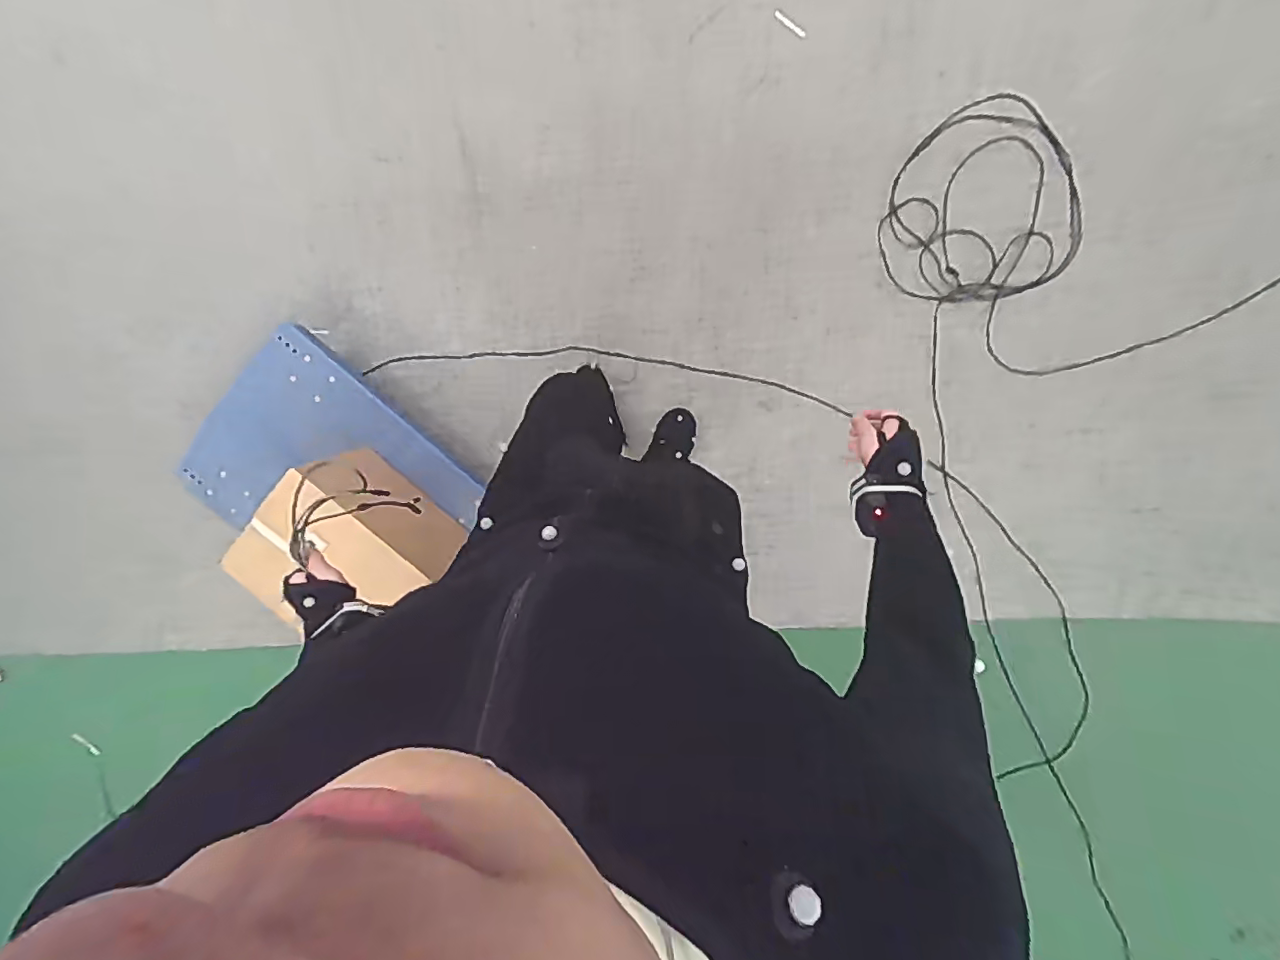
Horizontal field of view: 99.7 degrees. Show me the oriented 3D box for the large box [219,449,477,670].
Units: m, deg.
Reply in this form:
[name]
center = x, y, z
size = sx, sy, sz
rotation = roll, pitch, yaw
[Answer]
[large box]
center = -0.696, 0.180, 1.355
size = 0.408, 0.320, 0.320
rotation = 41, 100, -5
